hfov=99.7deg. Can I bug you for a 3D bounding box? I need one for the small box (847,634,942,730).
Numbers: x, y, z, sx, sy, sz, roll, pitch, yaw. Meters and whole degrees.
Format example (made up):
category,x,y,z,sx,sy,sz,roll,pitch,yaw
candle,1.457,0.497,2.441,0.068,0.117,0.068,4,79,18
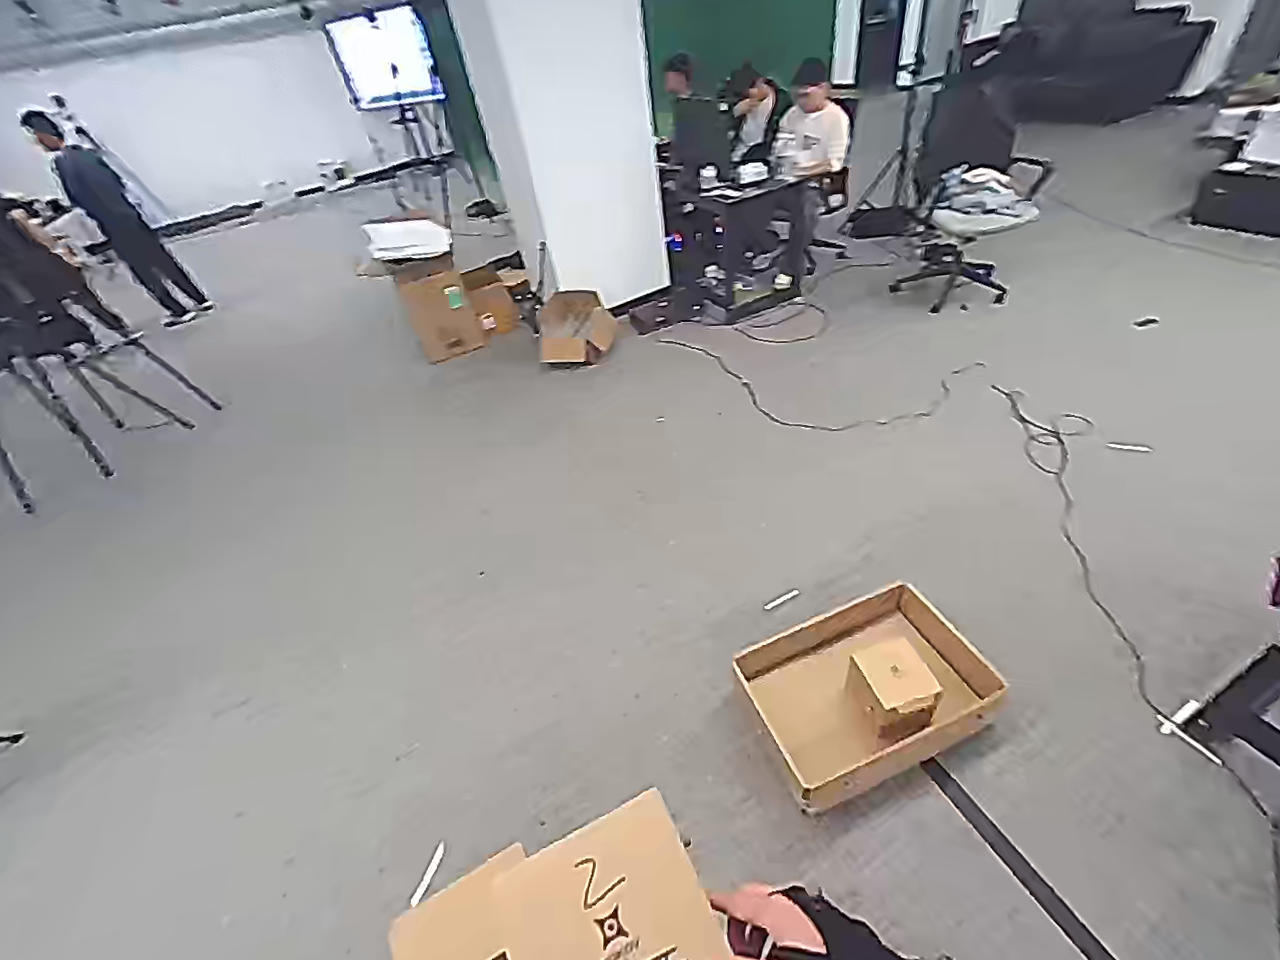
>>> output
category,x,y,z,sx,sy,sz,roll,pitch,yaw
small box,0.692,0.564,1.490,0.168,0.176,0.179,-16,41,-4
